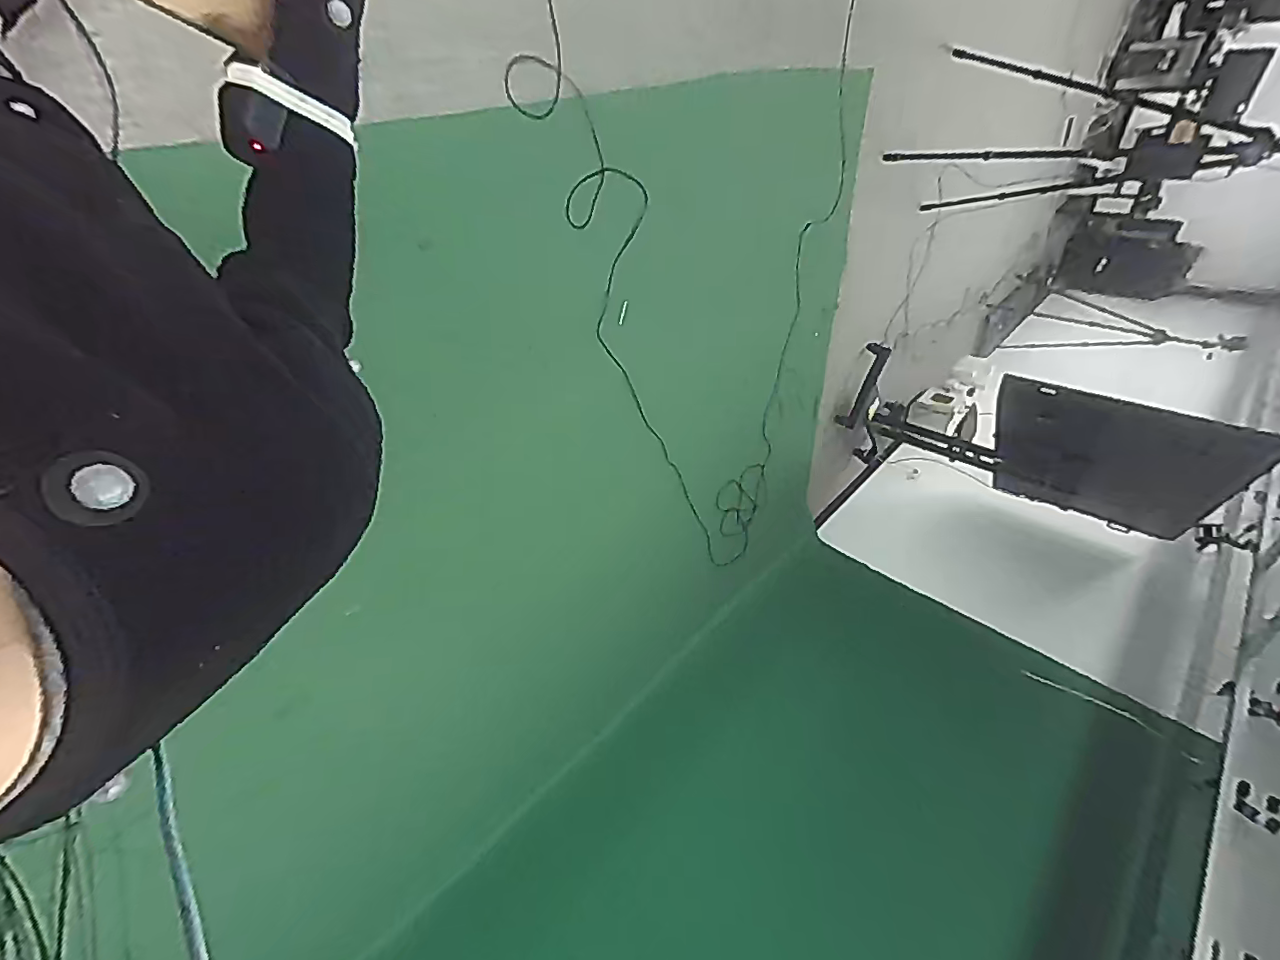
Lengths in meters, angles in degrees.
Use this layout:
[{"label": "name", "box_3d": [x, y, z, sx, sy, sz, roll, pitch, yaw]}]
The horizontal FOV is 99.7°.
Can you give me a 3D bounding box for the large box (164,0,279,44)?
[{"label": "large box", "box_3d": [-0.446, -0.546, 0.285, 0.408, 0.320, 0.320, -5, 128, -57]}]
